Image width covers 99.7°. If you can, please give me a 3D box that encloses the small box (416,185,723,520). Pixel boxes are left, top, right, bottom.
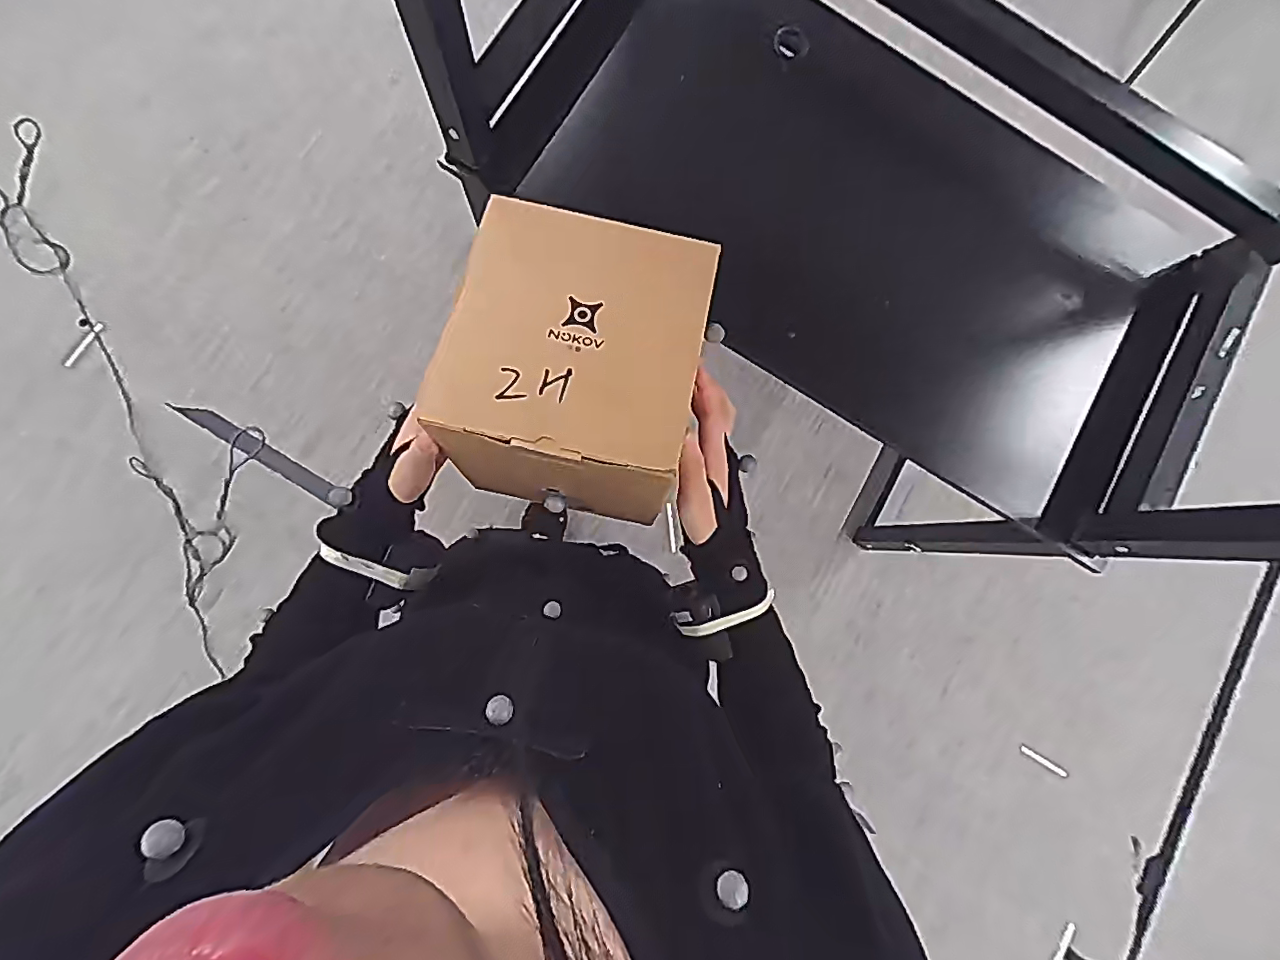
[{"bbox_3d":[-0.044,-0.082,0.423,0.168,0.176,0.179,12,75,0],"label":"small box"}]
